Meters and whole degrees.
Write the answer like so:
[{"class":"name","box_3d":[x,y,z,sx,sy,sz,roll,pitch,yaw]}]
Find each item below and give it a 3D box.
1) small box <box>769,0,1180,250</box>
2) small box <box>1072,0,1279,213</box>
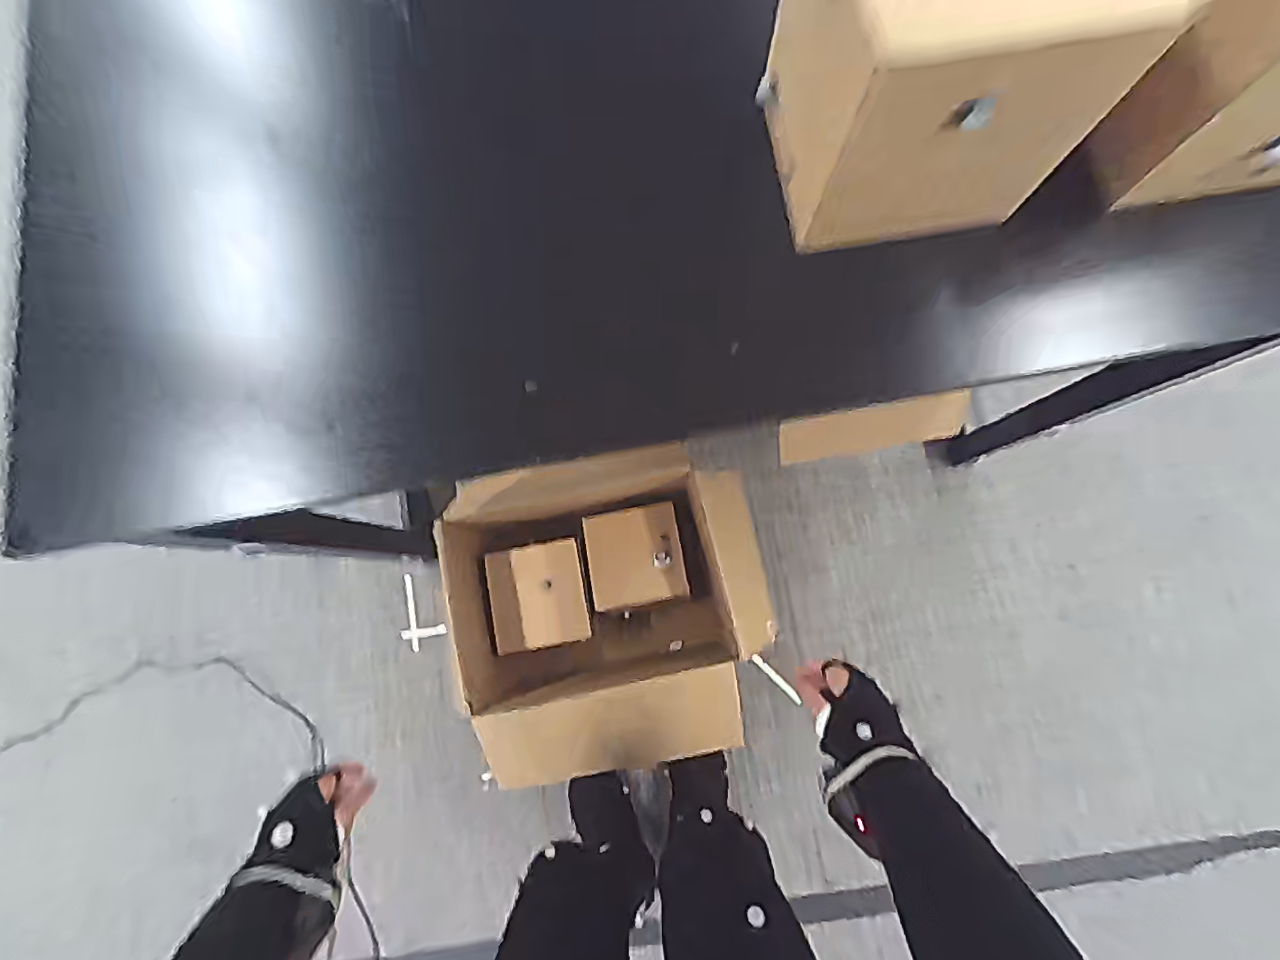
[{"class":"small box","box_3d":[0.199,-0.290,0.387,0.179,0.176,0.168,-8,78,0]},{"class":"small box","box_3d":[0.441,-0.328,0.383,0.168,0.176,0.179,-9,78,2]}]
